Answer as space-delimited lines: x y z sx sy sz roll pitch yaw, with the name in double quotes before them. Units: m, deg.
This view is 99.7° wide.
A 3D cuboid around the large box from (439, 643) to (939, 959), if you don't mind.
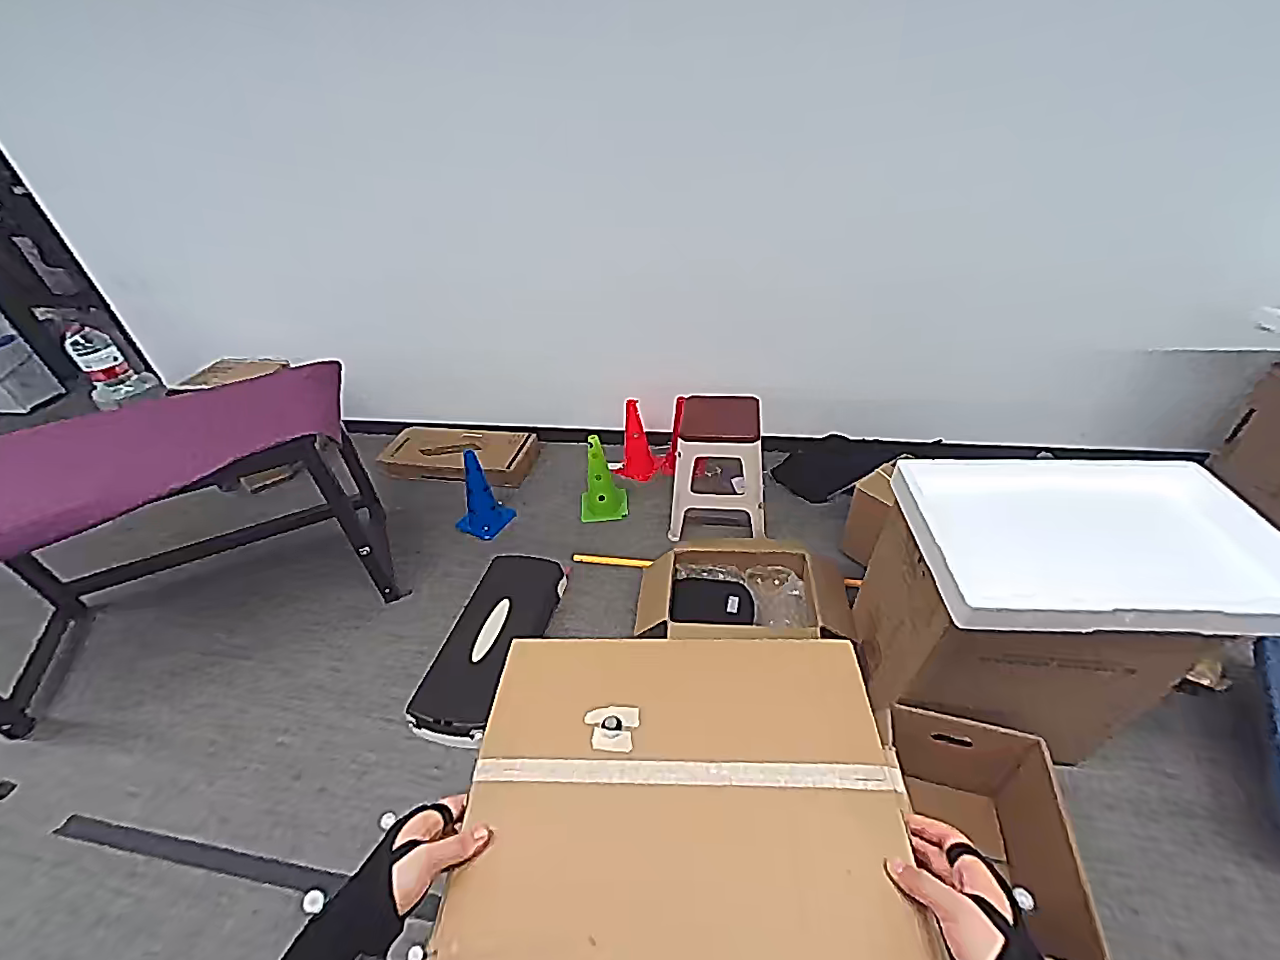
"large box" 0.055 0.413 0.623 0.408 0.320 0.320 -3 37 7
